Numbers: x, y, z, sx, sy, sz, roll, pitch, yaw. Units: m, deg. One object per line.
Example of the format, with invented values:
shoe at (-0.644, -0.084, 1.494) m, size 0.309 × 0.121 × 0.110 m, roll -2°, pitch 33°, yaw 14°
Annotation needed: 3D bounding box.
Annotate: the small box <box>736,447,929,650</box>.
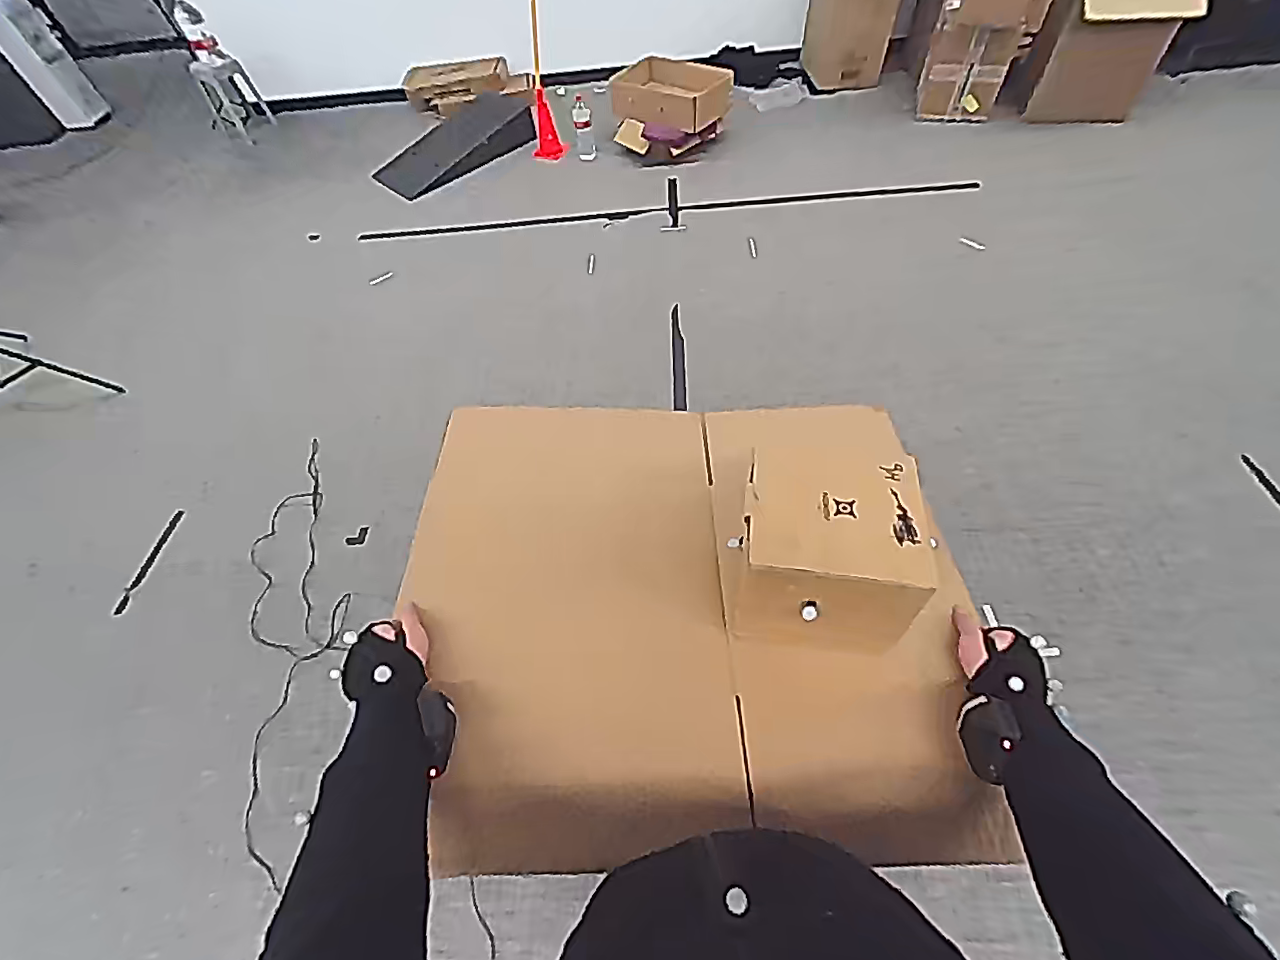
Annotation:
small box at (0.206, 0.082, 0.627) m, size 0.179 × 0.176 × 0.168 m, roll 5°, pitch 52°, yaw 9°
